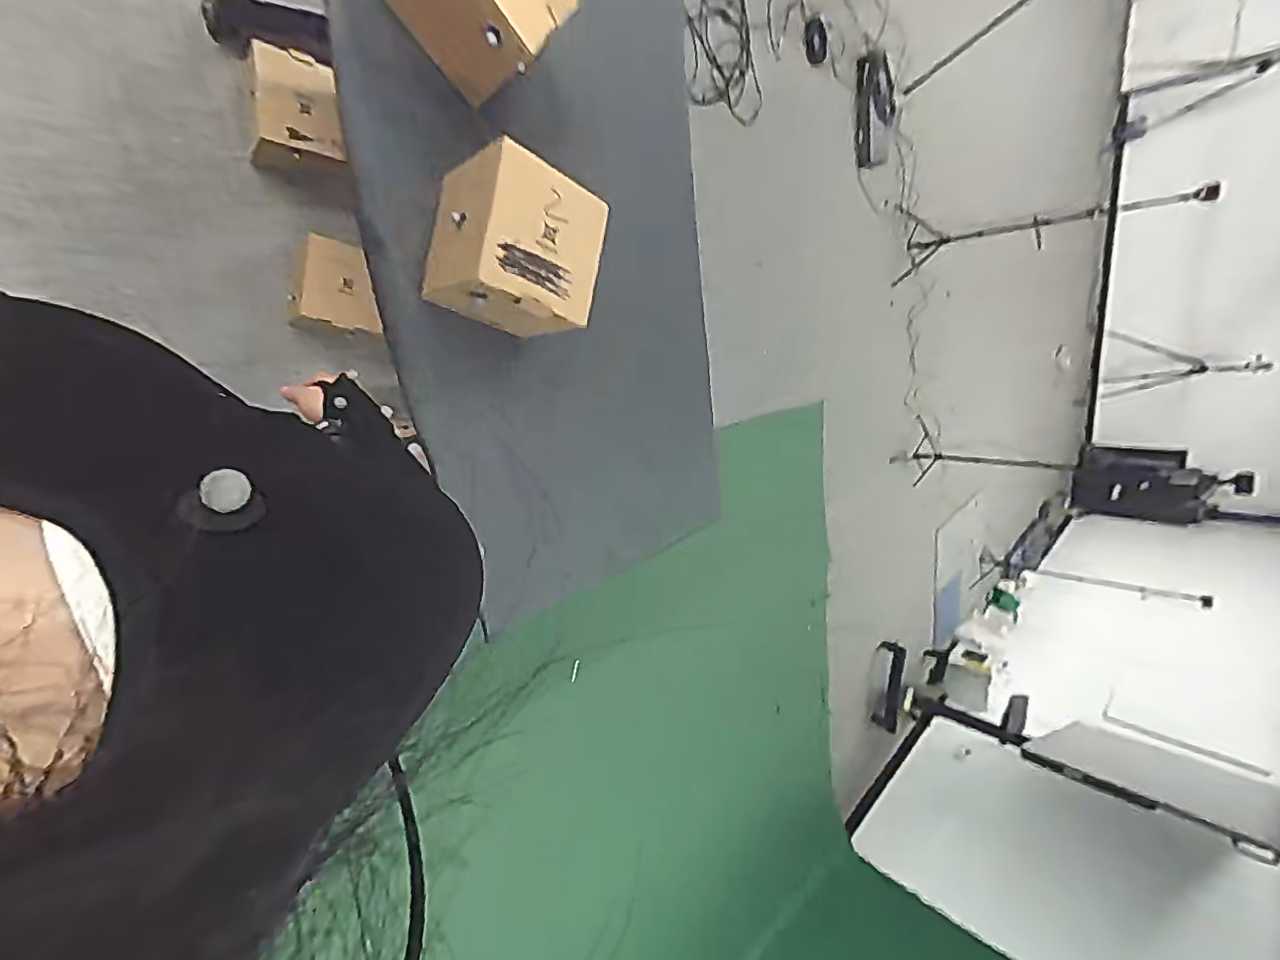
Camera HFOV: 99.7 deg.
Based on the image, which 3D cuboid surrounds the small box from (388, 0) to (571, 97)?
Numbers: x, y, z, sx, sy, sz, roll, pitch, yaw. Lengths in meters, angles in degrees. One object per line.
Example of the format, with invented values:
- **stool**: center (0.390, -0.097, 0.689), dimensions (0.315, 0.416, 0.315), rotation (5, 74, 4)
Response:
- **small box**: center (-0.198, -0.628, 0.664), dimensions (0.179, 0.176, 0.168), rotation (41, 69, -39)

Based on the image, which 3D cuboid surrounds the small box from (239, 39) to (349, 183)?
- **small box**: center (-0.733, -0.763, 1.144), dimensions (0.168, 0.176, 0.179), rotation (-6, 100, -42)

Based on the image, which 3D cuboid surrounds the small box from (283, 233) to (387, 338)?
- **small box**: center (-0.697, -0.430, 1.232), dimensions (0.168, 0.176, 0.179), rotation (5, 92, -44)
